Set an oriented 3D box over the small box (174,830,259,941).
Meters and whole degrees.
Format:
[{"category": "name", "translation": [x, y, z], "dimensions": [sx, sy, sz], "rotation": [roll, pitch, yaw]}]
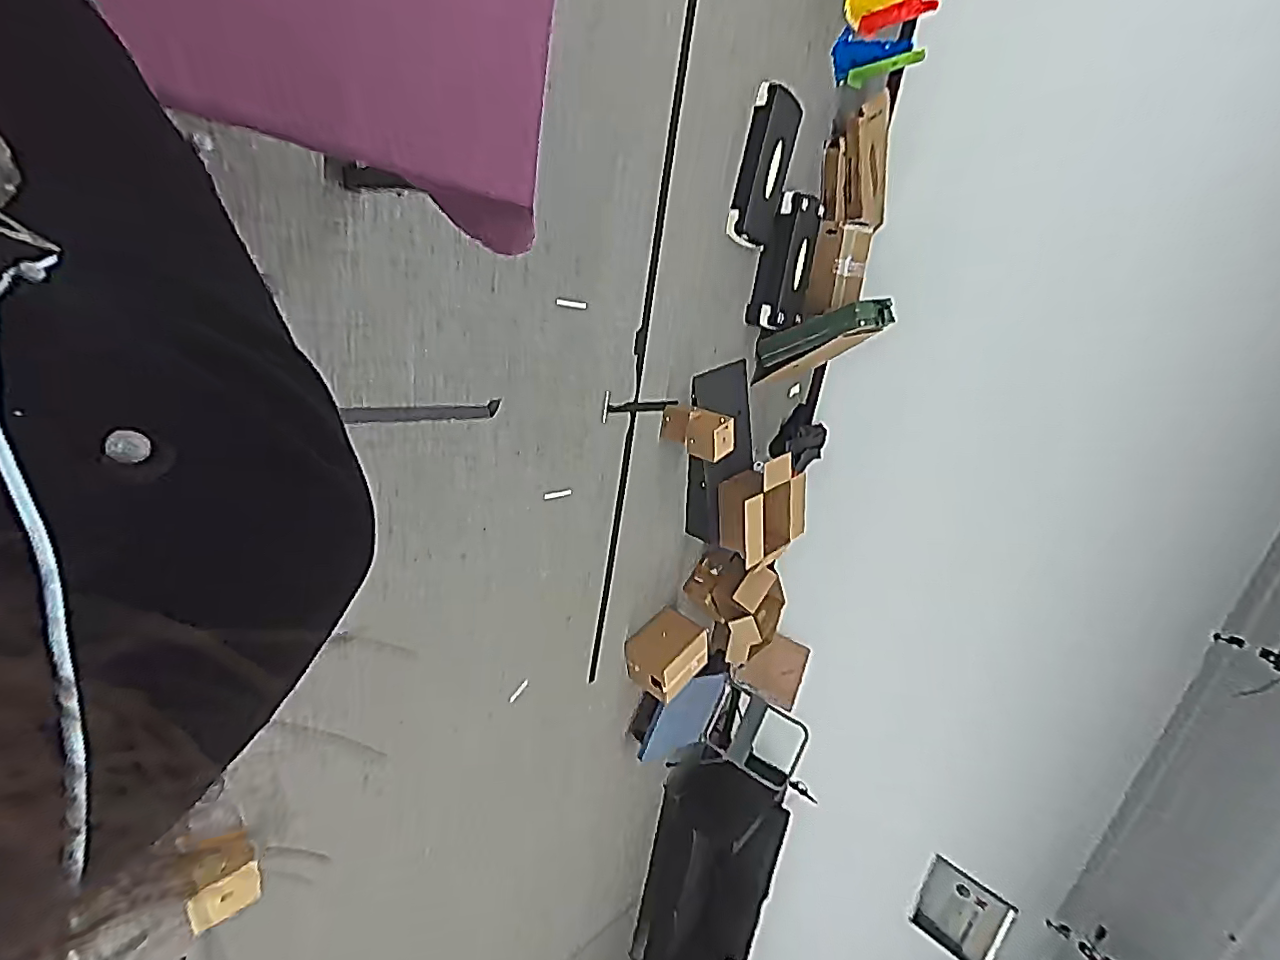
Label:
[{"category": "small box", "translation": [-1.319, 1.249, 1.680], "dimensions": [0.179, 0.176, 0.168], "rotation": [-15, 119, -48]}]
